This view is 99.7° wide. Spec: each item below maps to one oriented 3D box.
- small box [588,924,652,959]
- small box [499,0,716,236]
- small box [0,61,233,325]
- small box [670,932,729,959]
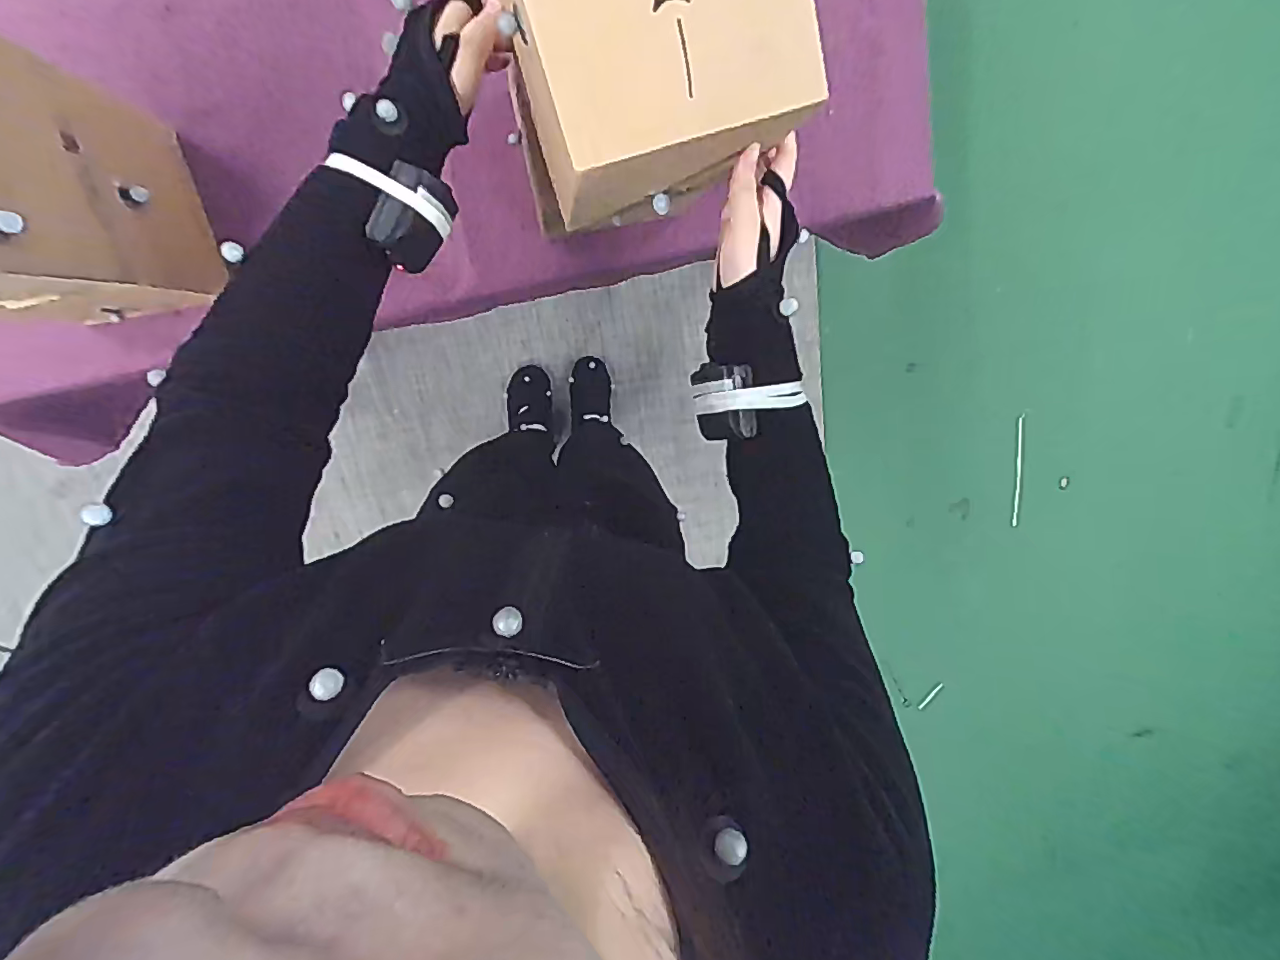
[{"bbox_3d":[-0.047,1.408,1.519,0.179,0.176,0.168,-11,109,-7],"label":"small box"},{"bbox_3d":[-0.036,-0.367,0.568,0.179,0.176,0.168,-13,108,-6],"label":"small box"},{"bbox_3d":[-0.541,-0.249,0.511,0.168,0.176,0.179,-14,108,-7],"label":"small box"},{"bbox_3d":[0.190,1.489,1.590,0.168,0.176,0.179,-10,110,-8],"label":"small box"}]
